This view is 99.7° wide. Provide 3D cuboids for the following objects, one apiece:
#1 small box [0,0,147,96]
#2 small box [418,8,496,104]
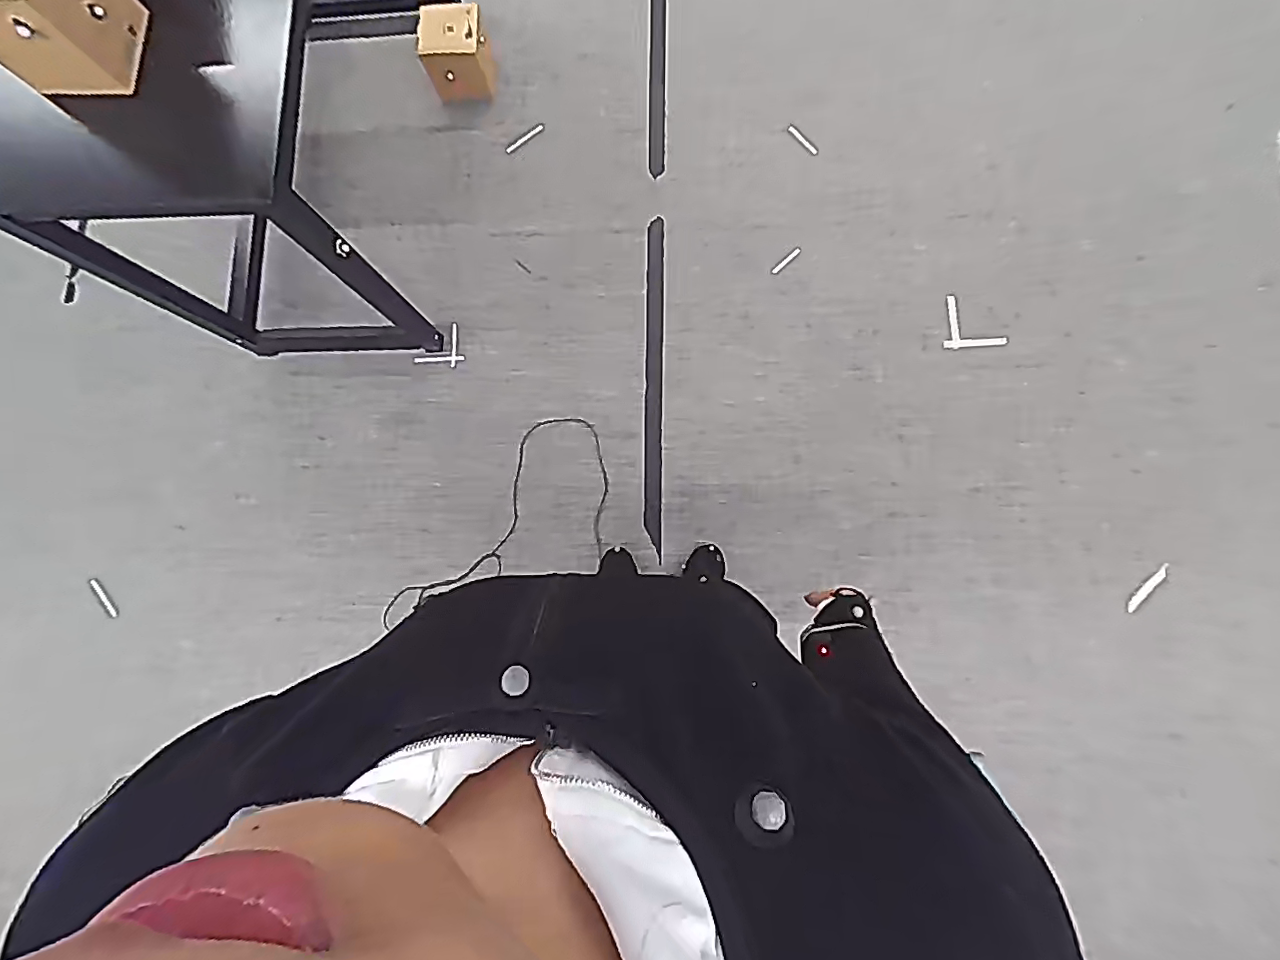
[{"bbox_3d":[-0.961,-0.759,0.873,0.179,0.176,0.168,3,82,4],"label":"small box"},{"bbox_3d":[-0.557,-1.294,1.660,0.179,0.176,0.168,-1,83,3],"label":"small box"}]
